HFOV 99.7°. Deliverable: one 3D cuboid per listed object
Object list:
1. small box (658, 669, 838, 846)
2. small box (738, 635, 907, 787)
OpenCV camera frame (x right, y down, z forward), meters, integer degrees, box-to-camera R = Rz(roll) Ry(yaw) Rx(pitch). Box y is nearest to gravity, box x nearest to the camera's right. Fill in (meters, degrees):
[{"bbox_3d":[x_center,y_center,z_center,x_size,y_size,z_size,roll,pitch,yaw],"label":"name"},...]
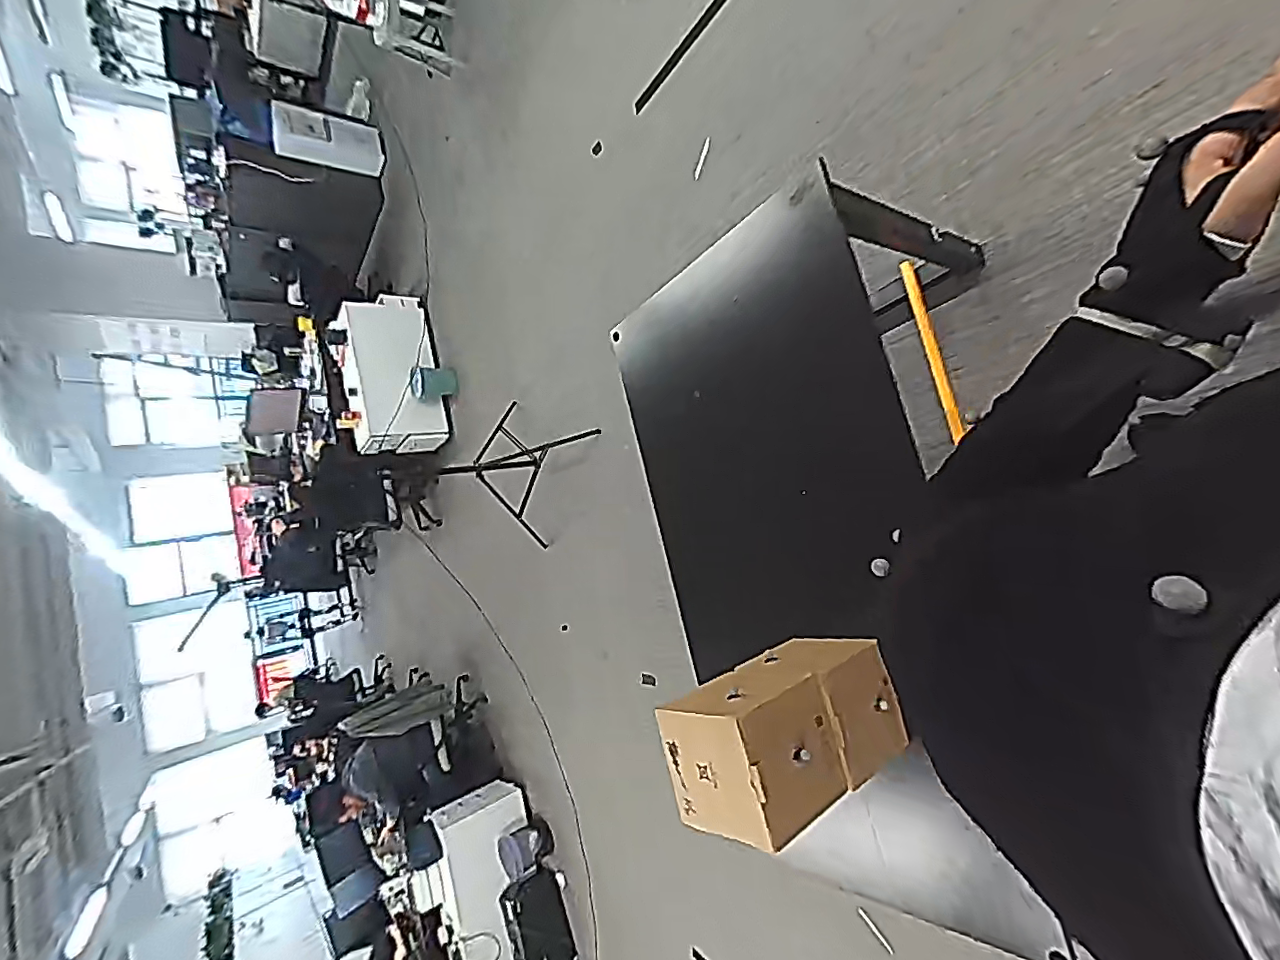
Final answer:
[{"bbox_3d":[0.159,0.378,0.777,0.179,0.176,0.168,-25,77,50],"label":"small box"},{"bbox_3d":[0.292,0.356,0.871,0.179,0.176,0.168,-20,81,51],"label":"small box"}]
